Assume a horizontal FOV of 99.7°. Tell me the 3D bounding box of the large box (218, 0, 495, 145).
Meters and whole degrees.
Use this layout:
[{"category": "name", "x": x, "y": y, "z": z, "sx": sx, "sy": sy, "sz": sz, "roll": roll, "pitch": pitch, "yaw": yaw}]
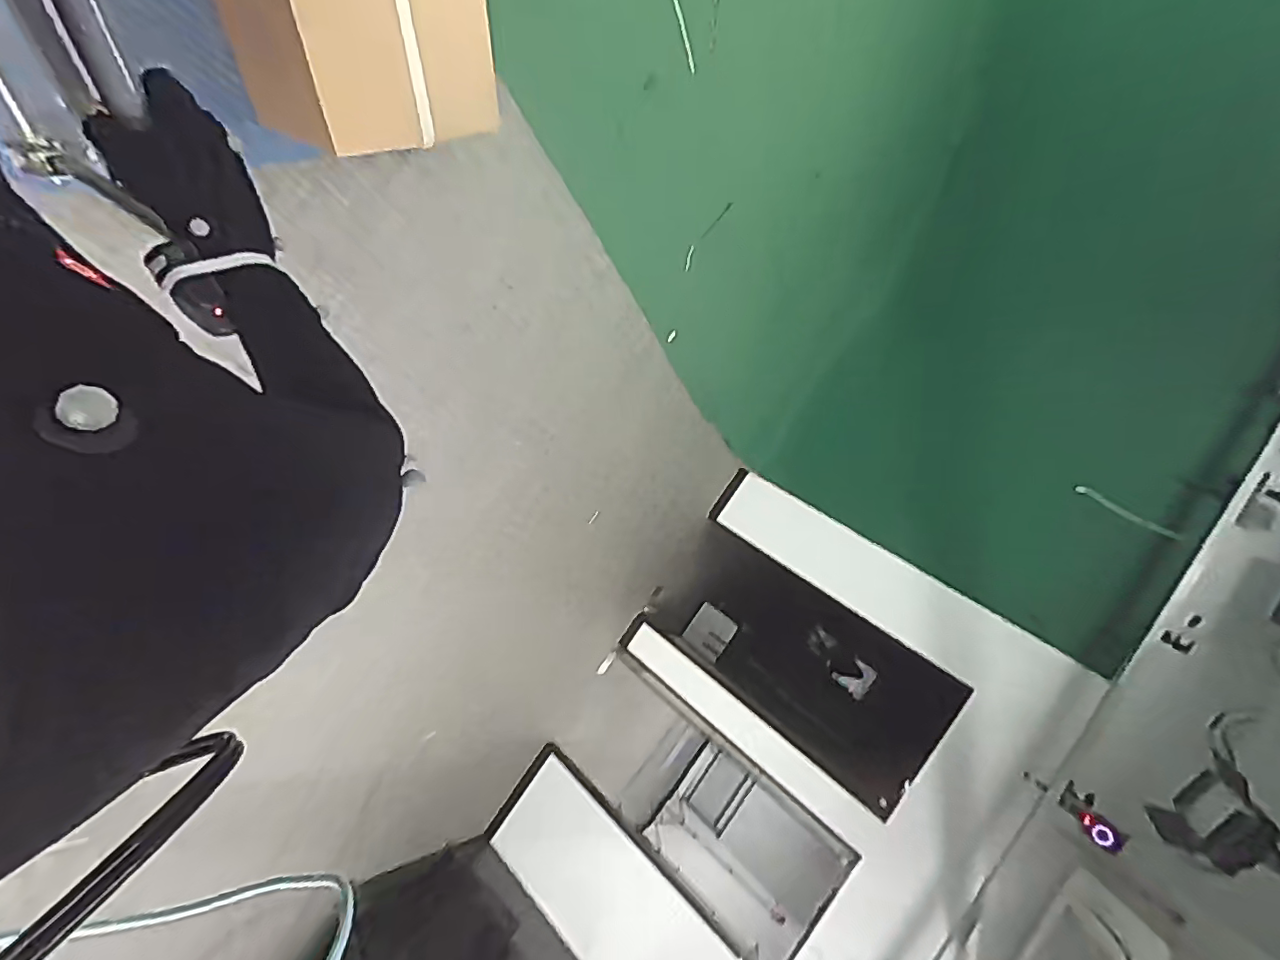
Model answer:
[{"category": "large box", "x": -0.476, "y": -0.809, "z": 0.857, "sx": 0.320, "sy": 0.320, "sz": 0.408, "roll": -36, "pitch": 146, "yaw": -33}]
